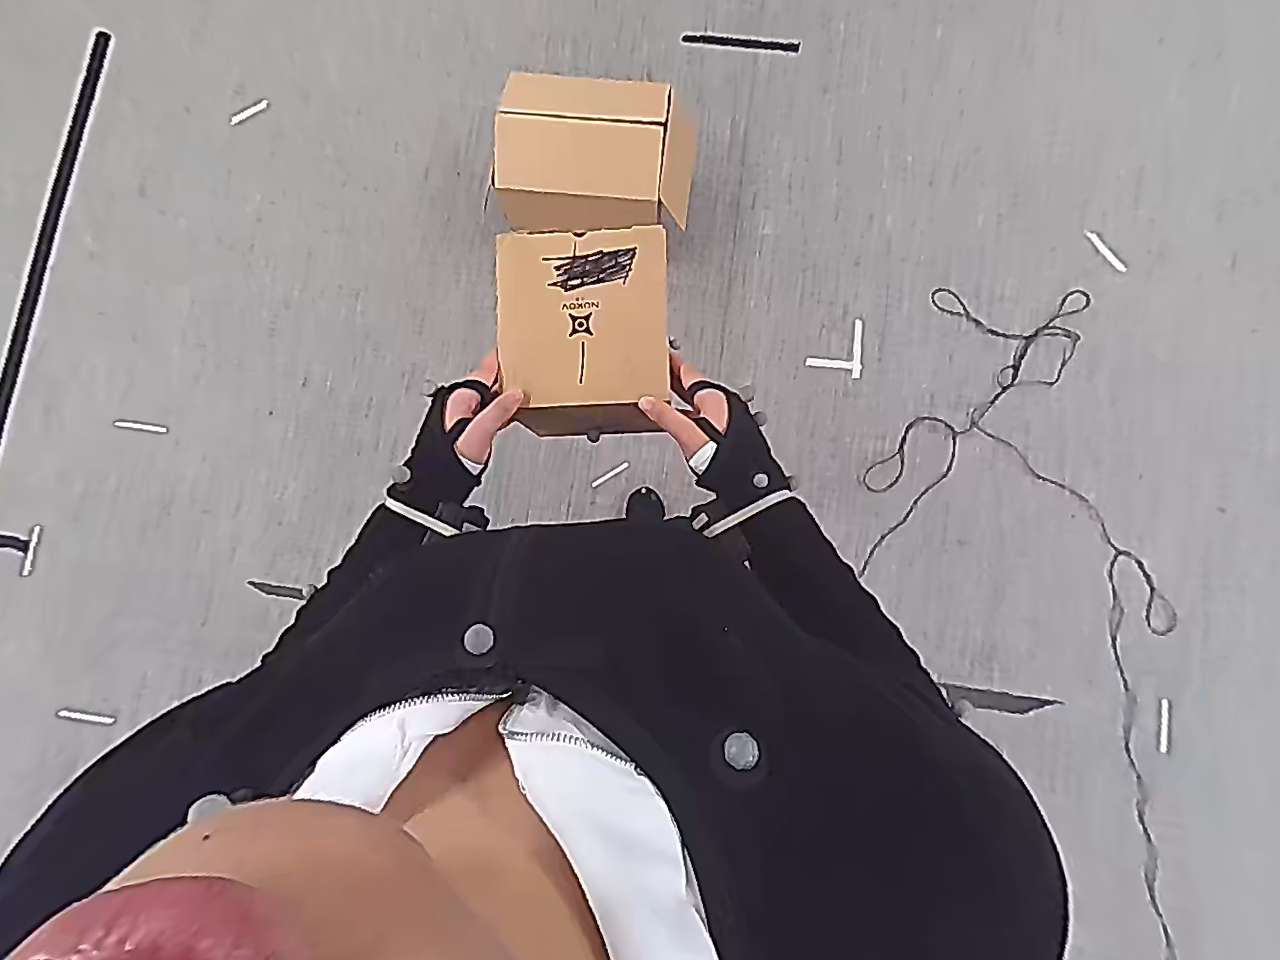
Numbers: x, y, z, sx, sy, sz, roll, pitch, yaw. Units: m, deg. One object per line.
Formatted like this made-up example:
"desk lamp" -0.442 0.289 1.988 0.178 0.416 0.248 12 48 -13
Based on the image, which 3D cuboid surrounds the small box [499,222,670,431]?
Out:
"small box" -0.053 -0.157 0.600 0.168 0.176 0.179 -2 86 2
